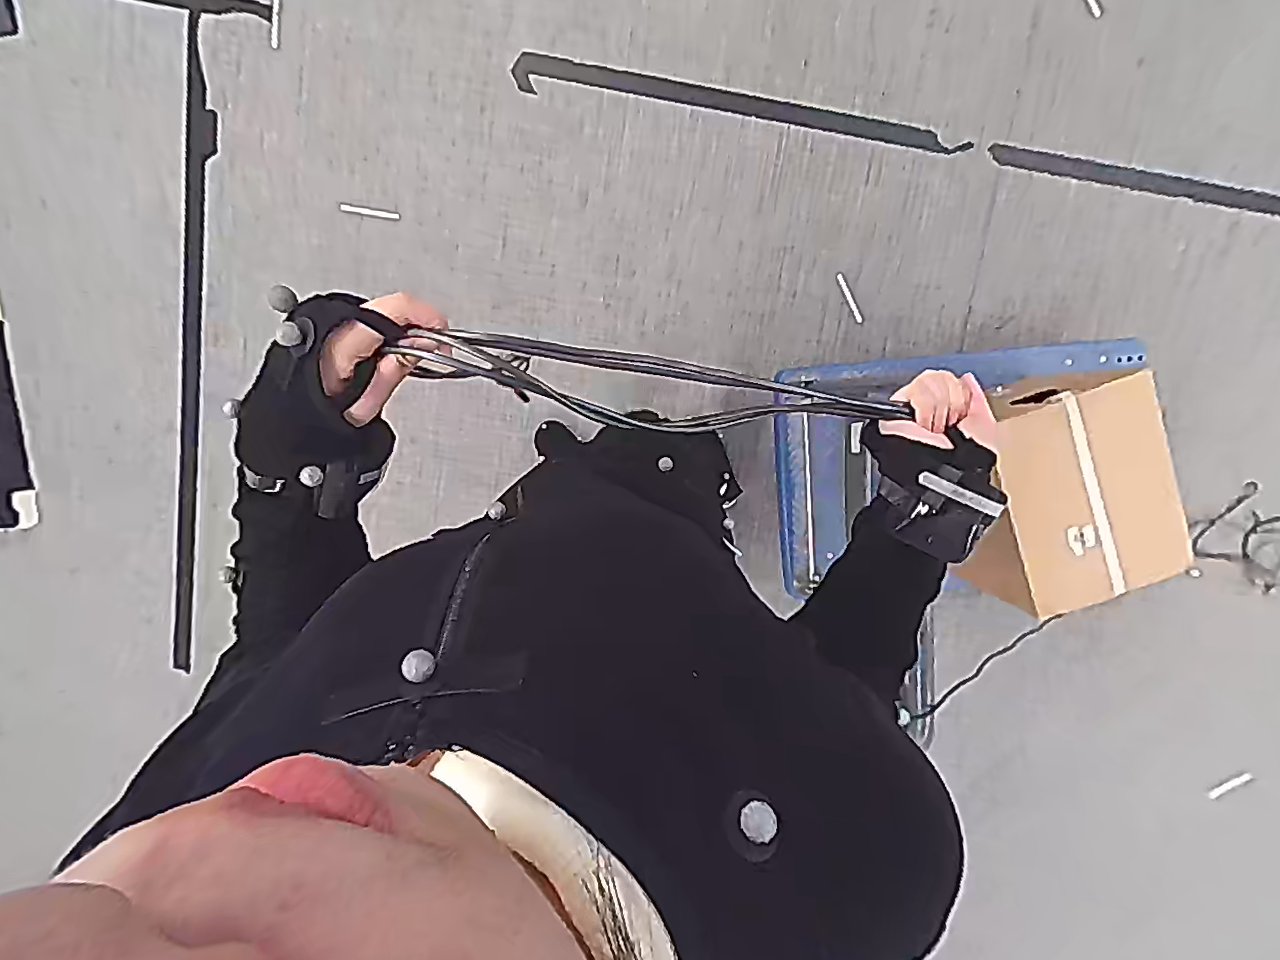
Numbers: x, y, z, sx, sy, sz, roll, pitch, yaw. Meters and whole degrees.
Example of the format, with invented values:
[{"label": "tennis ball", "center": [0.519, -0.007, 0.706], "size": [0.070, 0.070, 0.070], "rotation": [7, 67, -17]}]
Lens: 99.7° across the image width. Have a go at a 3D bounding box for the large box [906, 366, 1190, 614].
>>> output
[{"label": "large box", "center": [0.840, 0.003, 1.160], "size": [0.320, 0.320, 0.408], "rotation": [-20, 99, 3]}]
